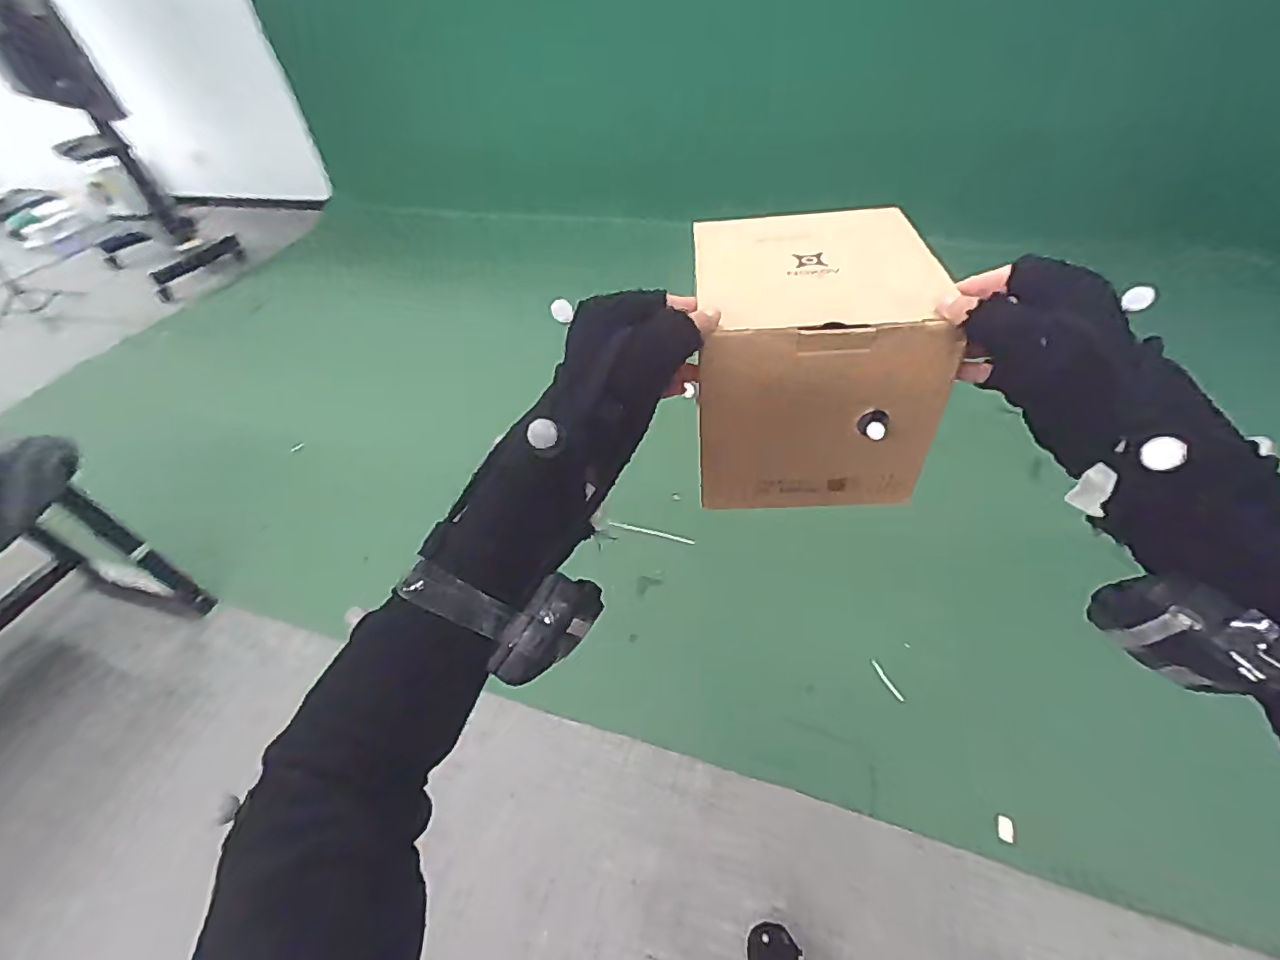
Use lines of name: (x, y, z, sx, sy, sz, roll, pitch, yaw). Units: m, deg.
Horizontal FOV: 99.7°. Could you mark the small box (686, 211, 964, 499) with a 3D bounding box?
small box: (0.124, -0.096, 0.442, 0.168, 0.176, 0.179, -2, 44, 4)
